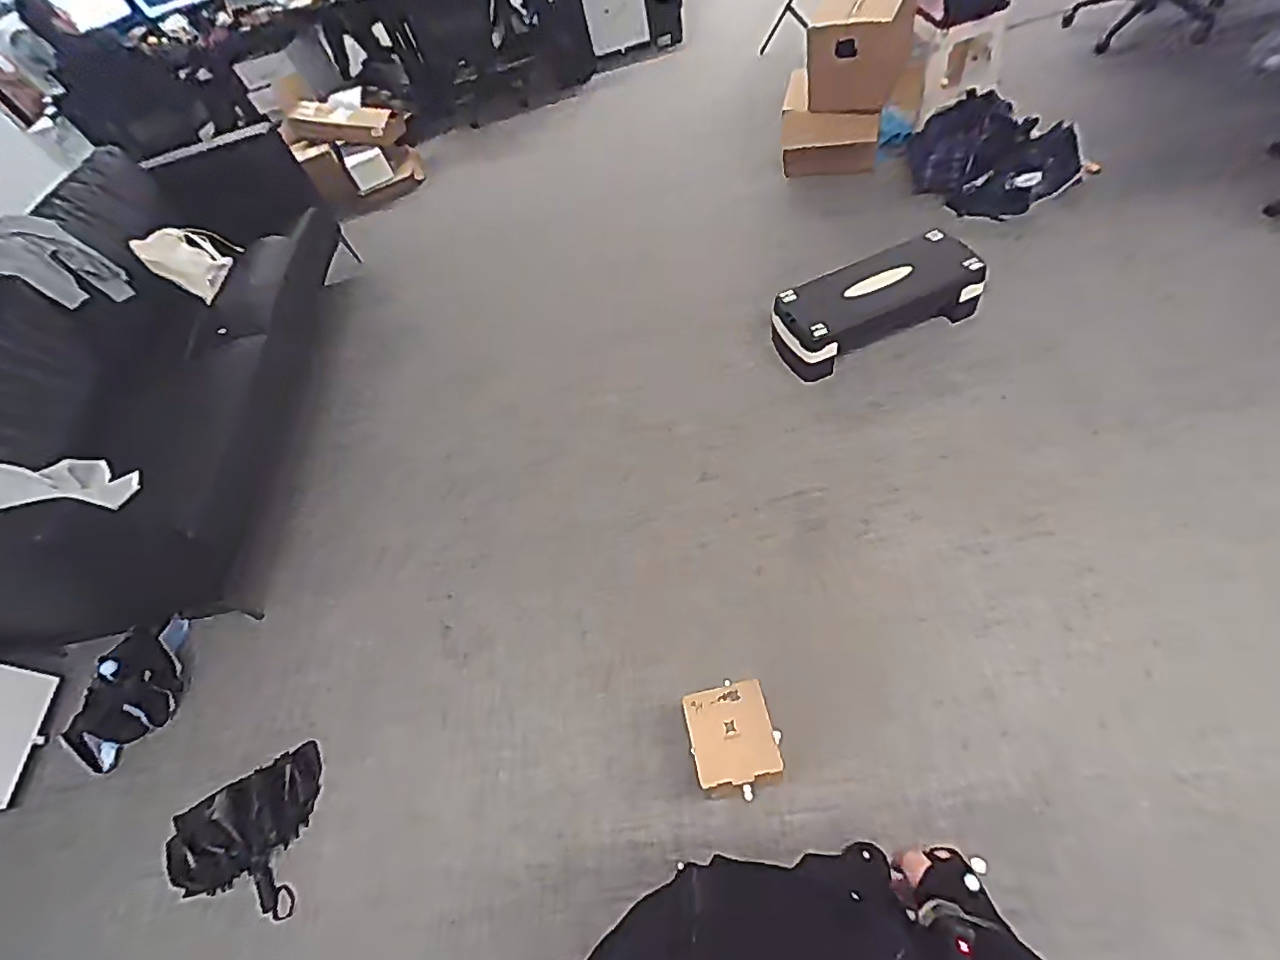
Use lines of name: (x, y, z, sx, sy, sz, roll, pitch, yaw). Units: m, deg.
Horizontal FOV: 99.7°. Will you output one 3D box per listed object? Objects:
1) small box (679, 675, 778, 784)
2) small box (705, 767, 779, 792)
small box: (0.192, 0.536, 1.151, 0.168, 0.176, 0.179, -15, 56, 5)
small box: (0.222, 0.623, 1.285, 0.168, 0.176, 0.179, -17, 56, 4)
